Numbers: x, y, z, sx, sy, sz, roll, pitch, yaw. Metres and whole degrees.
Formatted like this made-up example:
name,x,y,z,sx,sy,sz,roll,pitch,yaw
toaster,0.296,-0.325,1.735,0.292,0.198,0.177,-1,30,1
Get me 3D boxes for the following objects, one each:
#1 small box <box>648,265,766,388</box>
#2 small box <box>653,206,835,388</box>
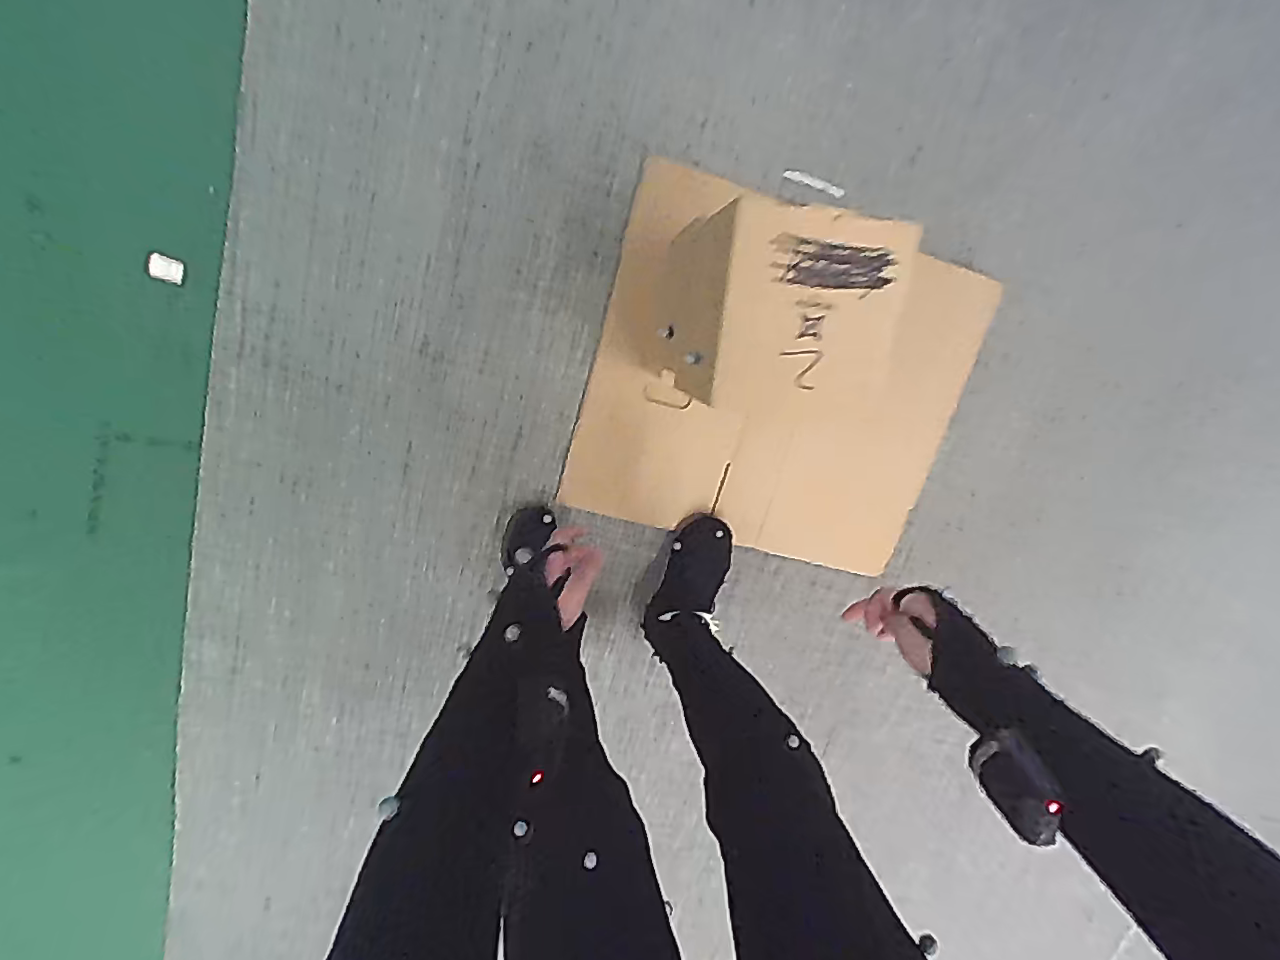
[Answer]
name,x,y,z,sx,sy,sz,roll,pitch,yaw
small box,0.112,-0.251,0.858,0.168,0.176,0.179,6,105,-9
small box,0.117,-0.225,0.694,0.168,0.176,0.179,7,104,-10
